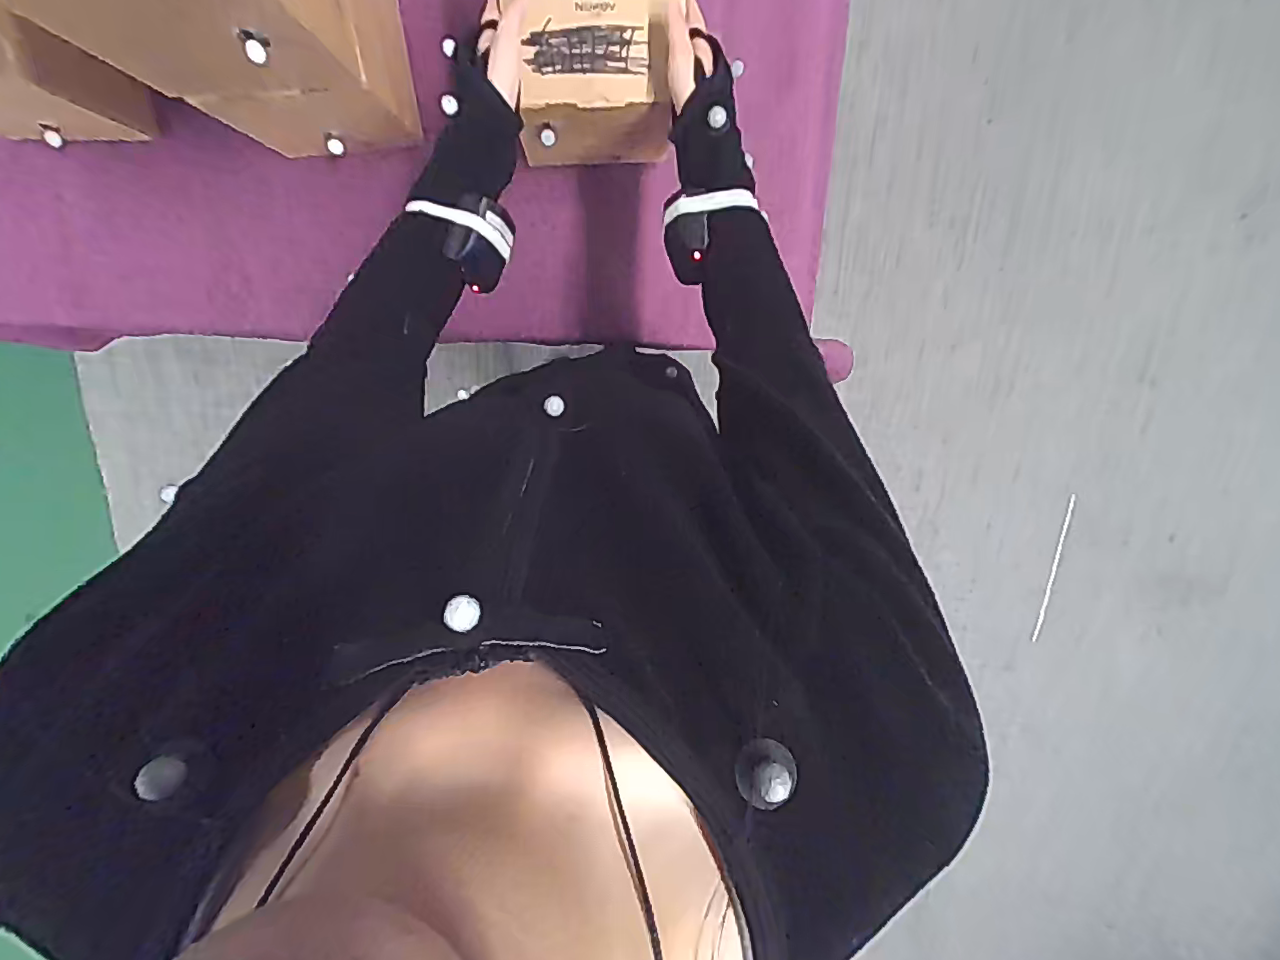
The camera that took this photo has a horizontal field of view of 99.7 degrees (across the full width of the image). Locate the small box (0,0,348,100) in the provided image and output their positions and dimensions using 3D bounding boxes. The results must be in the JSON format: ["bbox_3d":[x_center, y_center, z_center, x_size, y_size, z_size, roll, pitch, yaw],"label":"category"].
[{"bbox_3d":[-0.342,-0.407,0.397,0.179,0.176,0.168,-4,105,-2],"label":"small box"}]

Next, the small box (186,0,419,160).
[{"bbox_3d":[-0.348,-0.454,0.554,0.168,0.176,0.179,-5,107,-1],"label":"small box"}]

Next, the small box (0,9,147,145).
[{"bbox_3d":[-0.646,-0.452,0.537,0.179,0.176,0.168,-1,105,-3],"label":"small box"}]
